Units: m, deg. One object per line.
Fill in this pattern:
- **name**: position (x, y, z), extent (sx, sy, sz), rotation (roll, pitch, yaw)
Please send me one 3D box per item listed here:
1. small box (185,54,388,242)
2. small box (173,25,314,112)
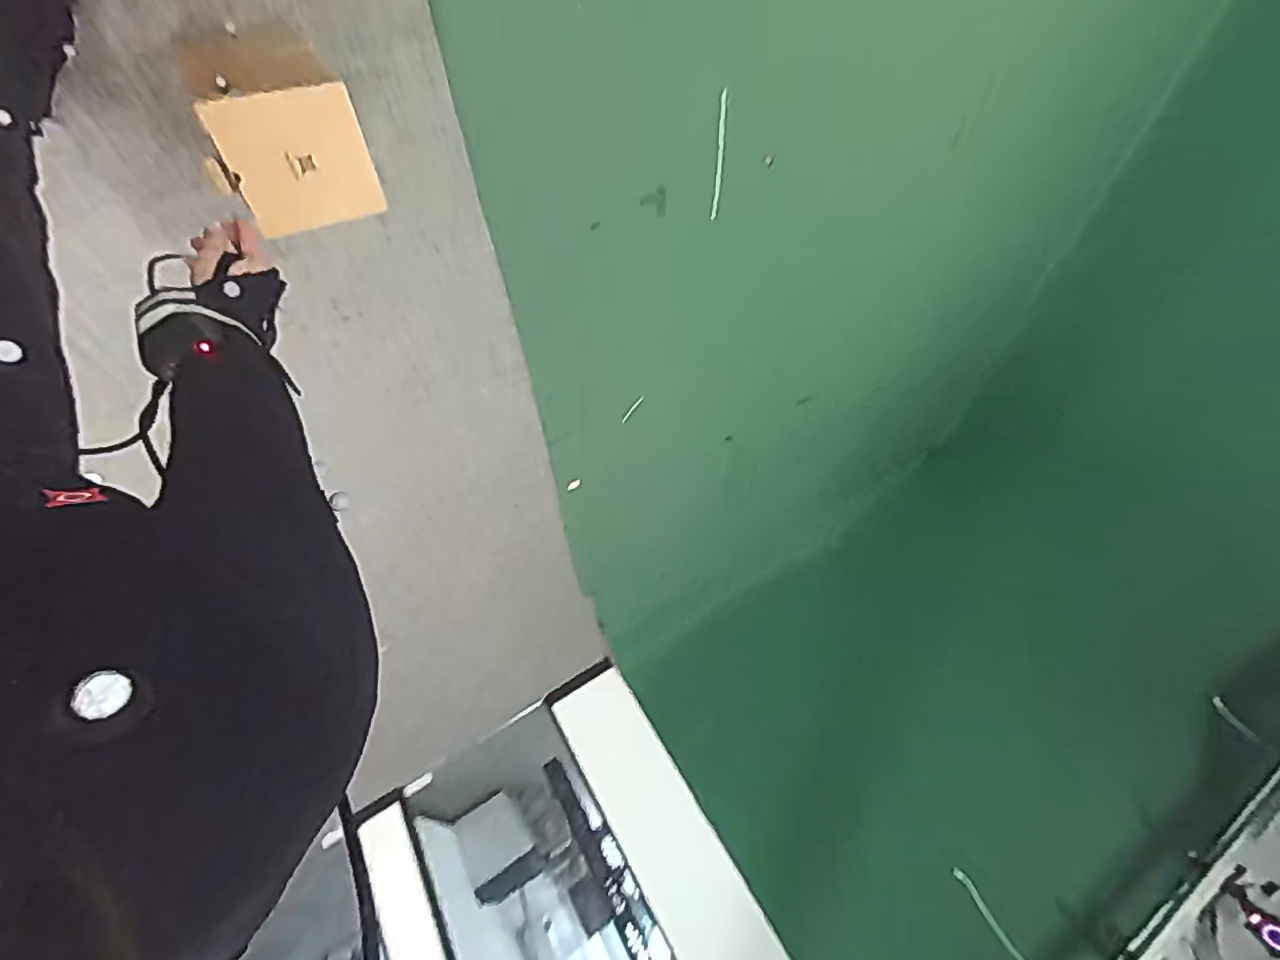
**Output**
- **small box**: position (-0.491, -0.470, 0.759), extent (0.179, 0.176, 0.168), rotation (-26, 146, -20)
- **small box**: position (-0.579, -0.580, 0.843), extent (0.179, 0.176, 0.168), rotation (-25, 147, -18)
